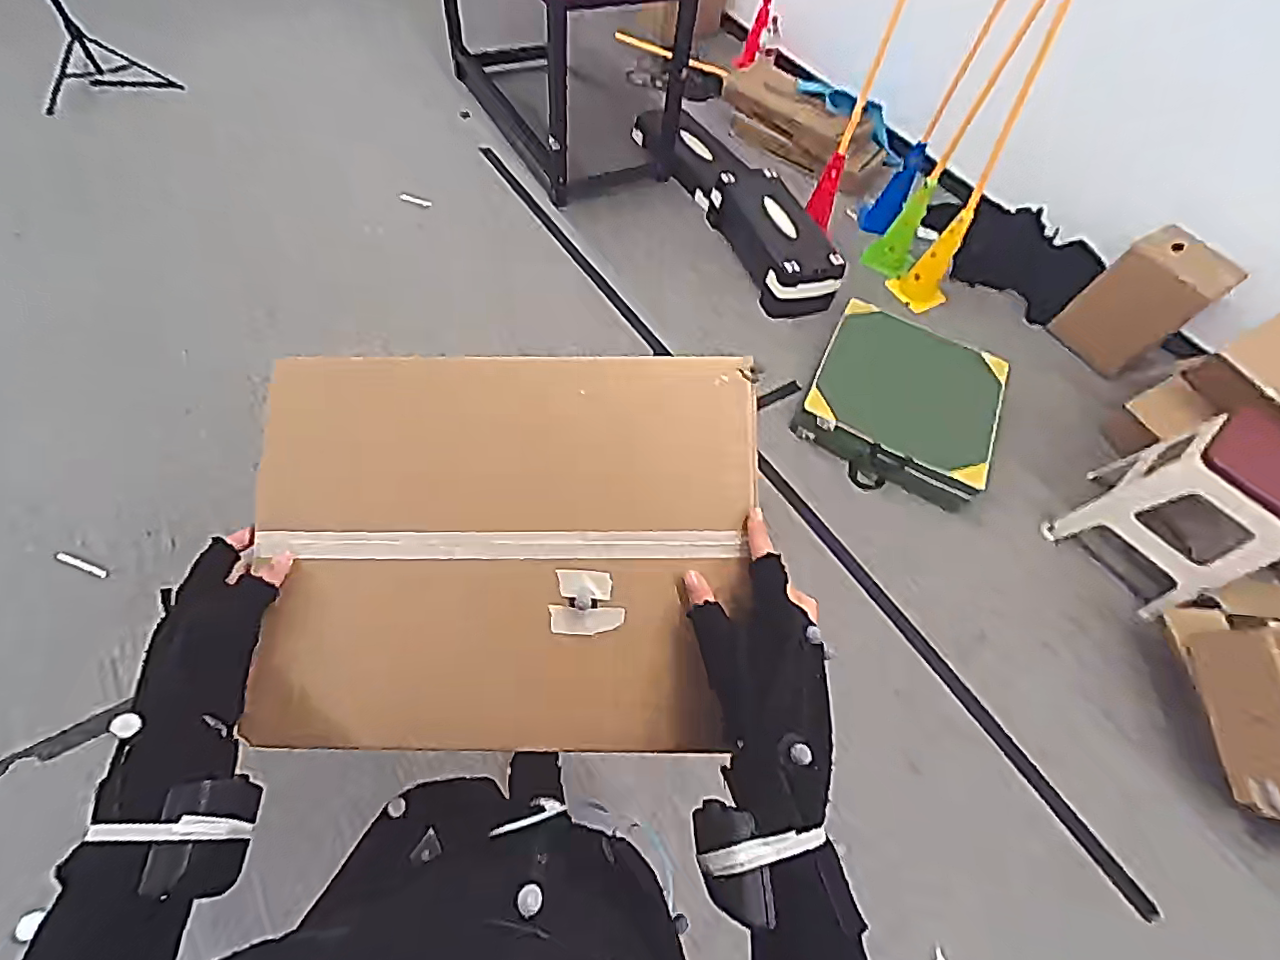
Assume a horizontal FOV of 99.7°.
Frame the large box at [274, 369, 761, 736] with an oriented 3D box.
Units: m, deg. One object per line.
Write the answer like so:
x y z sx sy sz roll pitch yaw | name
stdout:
-0.100 0.076 0.604 0.408 0.320 0.320 1 83 1 | large box
